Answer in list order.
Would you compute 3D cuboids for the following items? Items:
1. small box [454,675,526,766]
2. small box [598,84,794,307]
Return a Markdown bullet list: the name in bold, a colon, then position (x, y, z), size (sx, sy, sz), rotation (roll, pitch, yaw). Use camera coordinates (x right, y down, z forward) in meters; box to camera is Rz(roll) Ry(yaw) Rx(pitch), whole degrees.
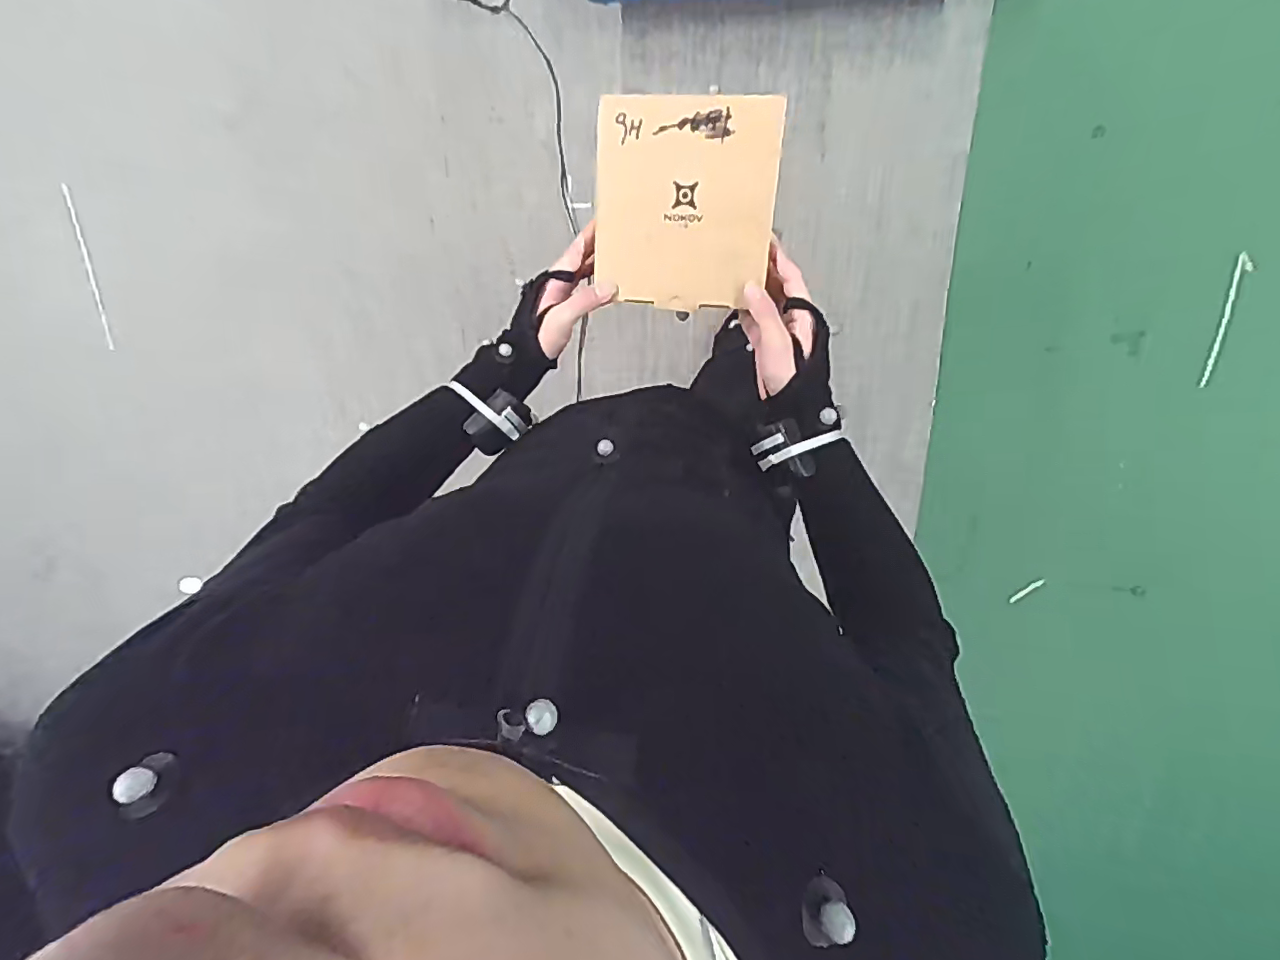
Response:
- **small box**: position (-0.458, 0.735, 1.665), size (0.168, 0.176, 0.179), rotation (9, 107, 5)
- **small box**: position (0.058, -0.282, 0.565), size (0.168, 0.176, 0.179), rotation (7, 111, 7)
